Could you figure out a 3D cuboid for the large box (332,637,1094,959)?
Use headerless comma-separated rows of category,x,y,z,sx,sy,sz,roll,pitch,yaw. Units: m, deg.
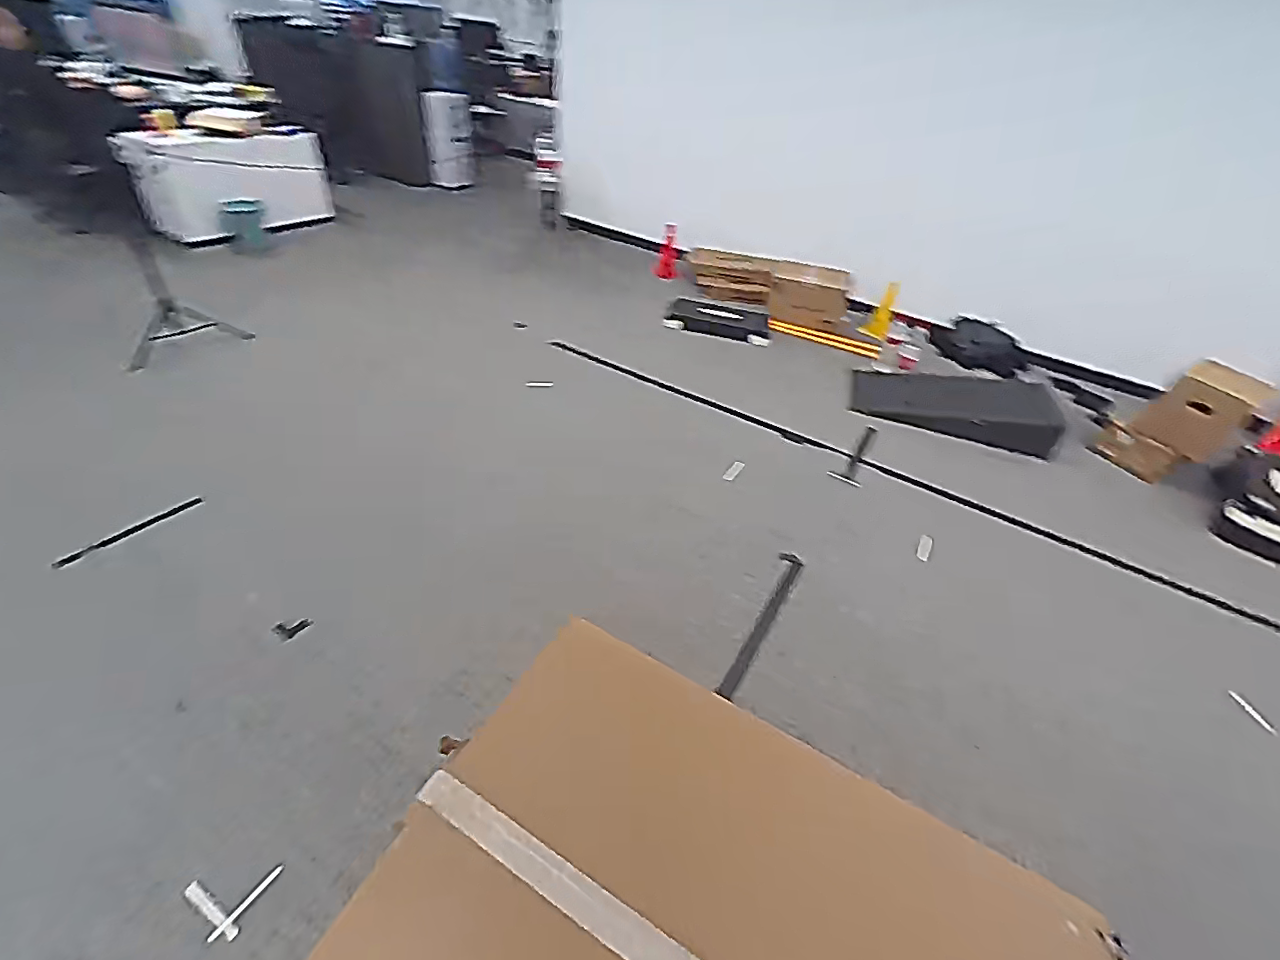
large box,0.028,0.399,0.404,0.408,0.320,0.320,24,48,17
